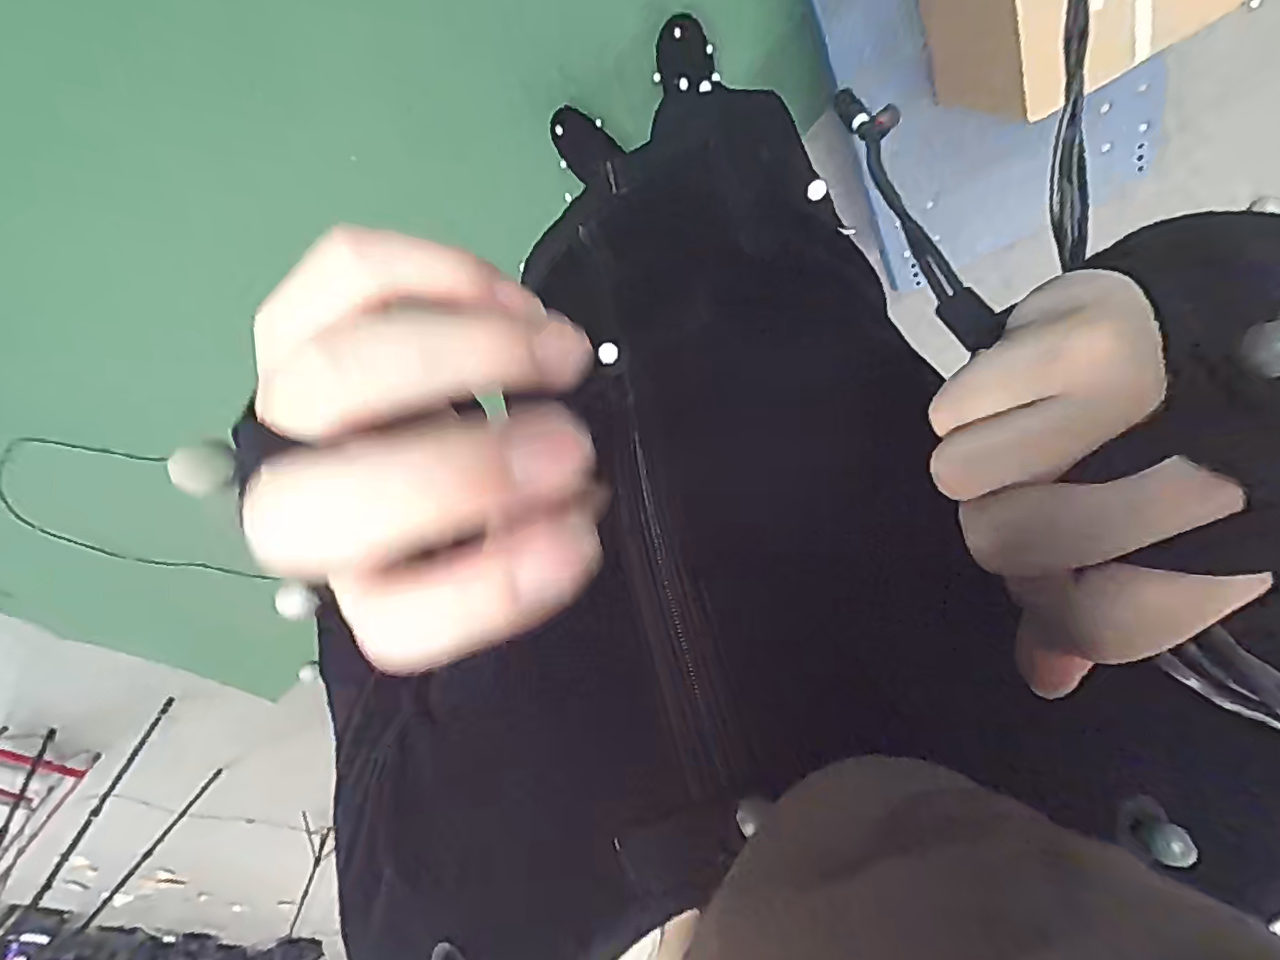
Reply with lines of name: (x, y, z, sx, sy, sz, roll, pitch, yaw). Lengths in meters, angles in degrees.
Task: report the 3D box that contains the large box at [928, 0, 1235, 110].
large box: (0.651, -0.870, 0.817, 0.320, 0.320, 0.408, -24, 128, 17)
